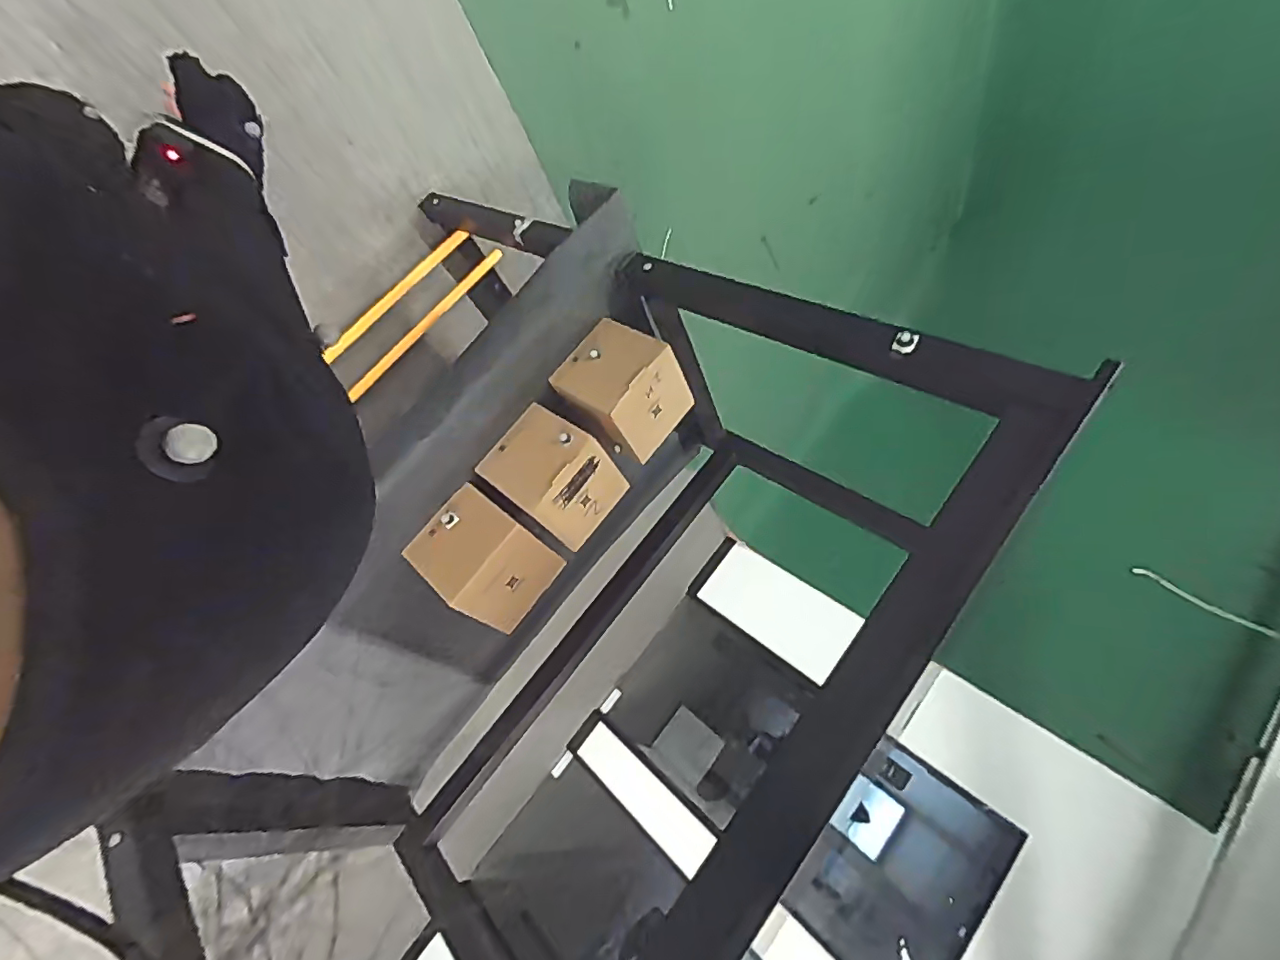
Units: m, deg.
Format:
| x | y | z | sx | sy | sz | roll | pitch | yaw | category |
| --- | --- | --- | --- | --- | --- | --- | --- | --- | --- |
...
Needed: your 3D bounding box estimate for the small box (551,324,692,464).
| x | y | z | sx | sy | sz | roll | pitch | yaw | category |
| --- | --- | --- | --- | --- | --- | --- | --- | --- | --- |
| -0.033 | -0.166 | 1.026 | 0.168 | 0.176 | 0.179 | -51 | 145 | -11 | small box |
